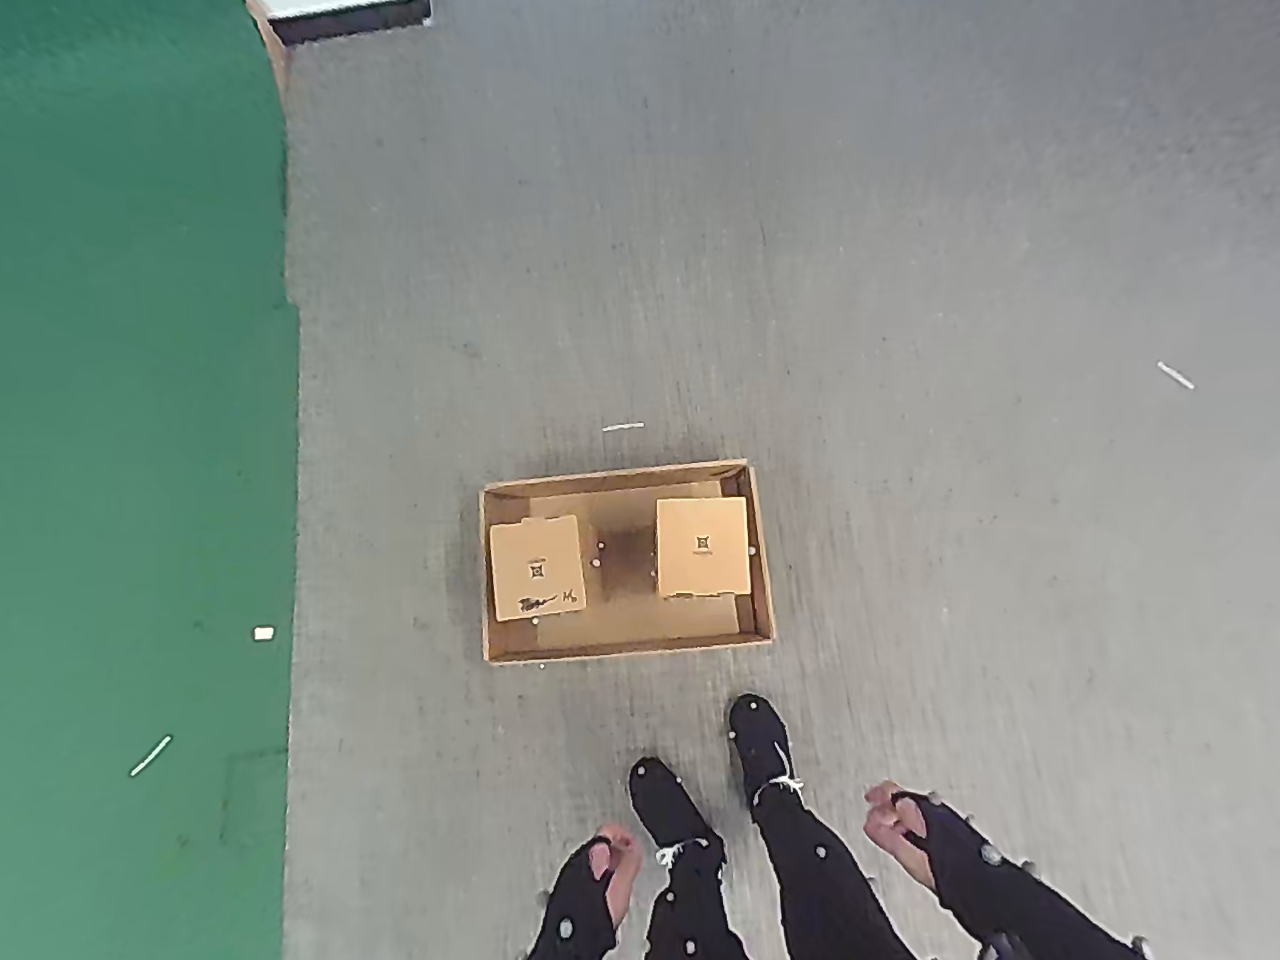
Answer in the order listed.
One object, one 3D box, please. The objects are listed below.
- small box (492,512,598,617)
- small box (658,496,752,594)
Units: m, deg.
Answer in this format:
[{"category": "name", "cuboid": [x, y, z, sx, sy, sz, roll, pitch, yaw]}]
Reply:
[{"category": "small box", "cuboid": [-0.179, 0.169, 1.051, 0.168, 0.176, 0.179, -8, 77, 3]}, {"category": "small box", "cuboid": [0.118, 0.130, 1.048, 0.168, 0.176, 0.179, -1, 80, 2]}]
